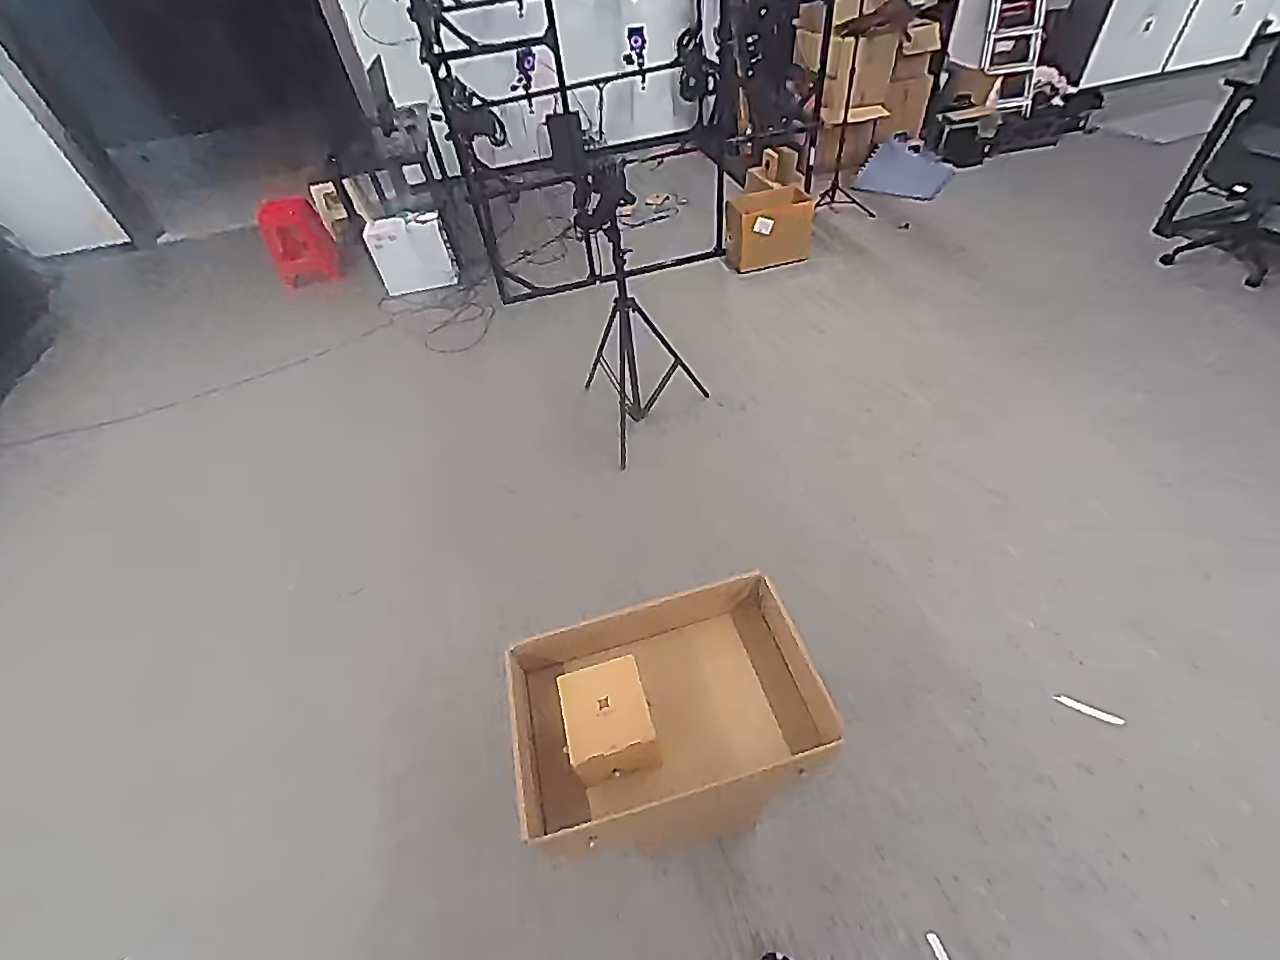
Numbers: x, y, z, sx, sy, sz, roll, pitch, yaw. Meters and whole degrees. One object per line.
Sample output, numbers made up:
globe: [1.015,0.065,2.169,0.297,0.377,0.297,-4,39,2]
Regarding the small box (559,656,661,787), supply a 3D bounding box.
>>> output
small box: [-0.061,0.500,1.116,0.168,0.176,0.179,-16,48,-6]
